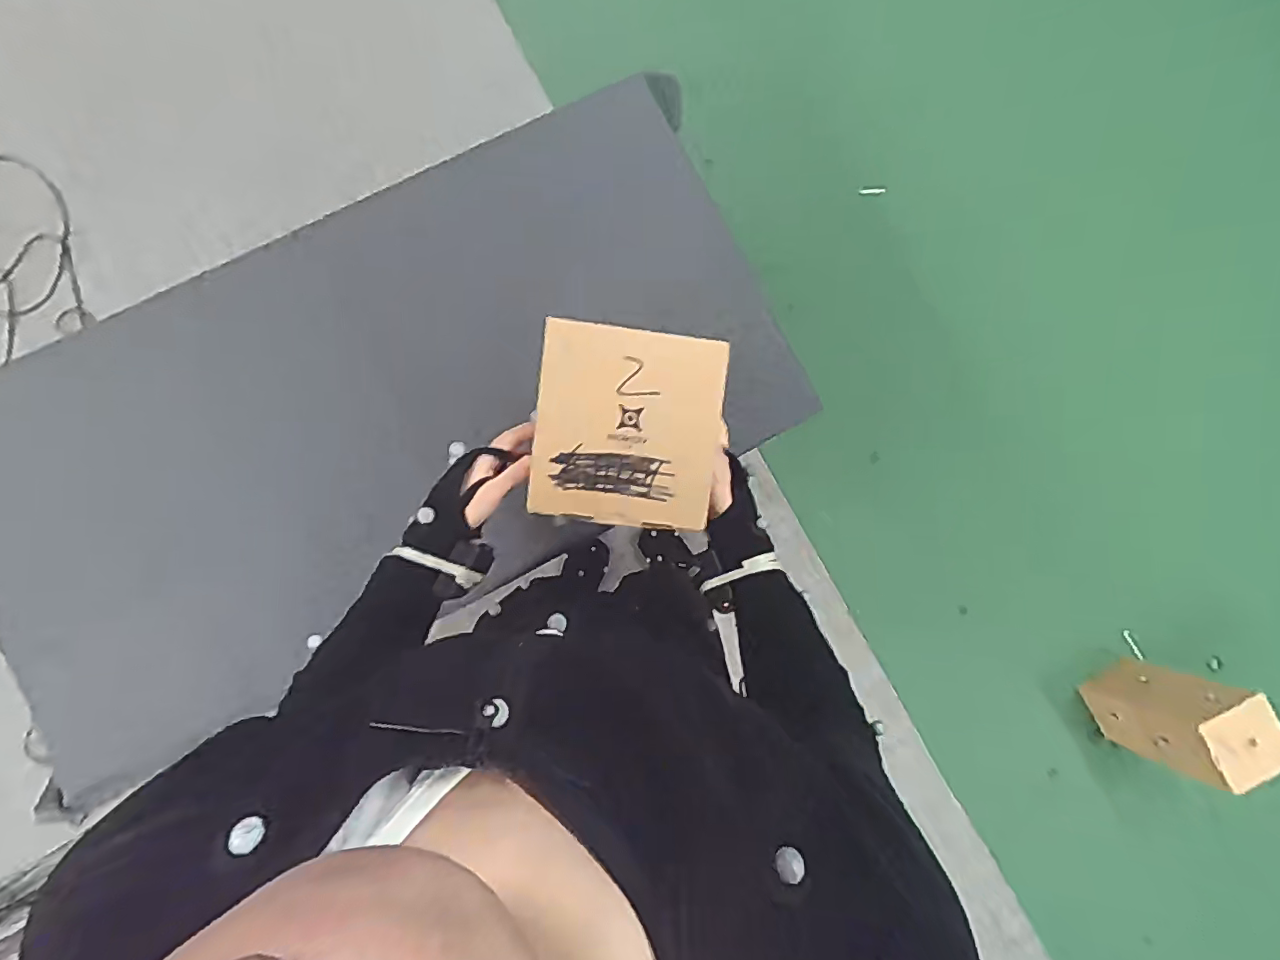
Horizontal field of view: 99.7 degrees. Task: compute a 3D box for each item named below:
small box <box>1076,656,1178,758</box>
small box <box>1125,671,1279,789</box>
[{"bbox_3d":[1.320,0.595,1.440,0.179,0.176,0.168,-28,86,-4],"label":"small box"},{"bbox_3d":[1.323,0.578,1.276,0.179,0.176,0.168,-26,86,-4],"label":"small box"}]
